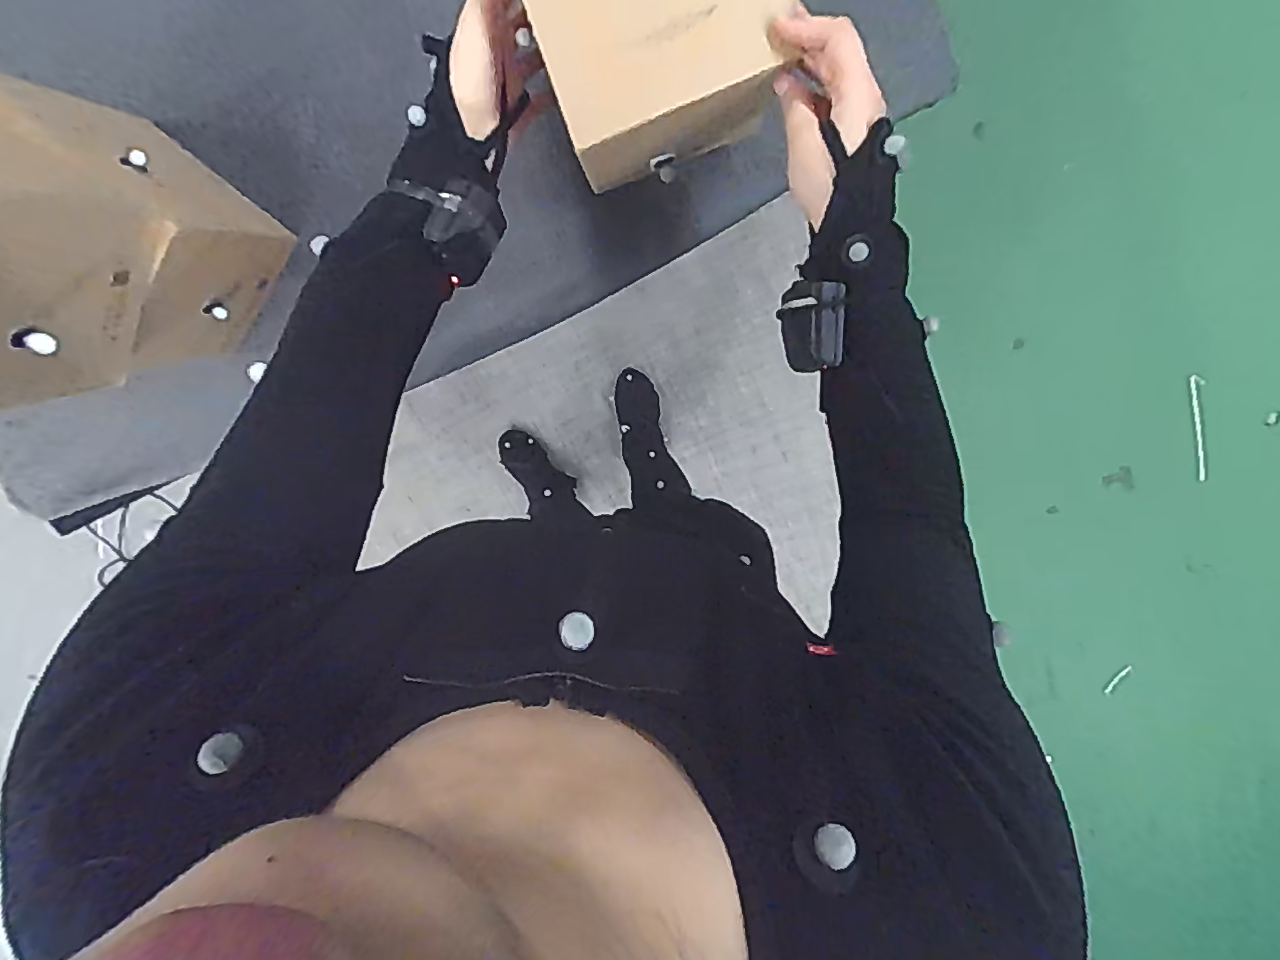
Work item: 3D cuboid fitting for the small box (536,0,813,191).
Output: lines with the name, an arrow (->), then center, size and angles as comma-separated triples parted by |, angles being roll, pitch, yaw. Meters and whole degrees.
small box -> 0.012, -0.357, 0.421 | 0.168, 0.176, 0.179 | -19, 108, 7

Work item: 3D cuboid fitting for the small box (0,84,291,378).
small box -> -0.488, -0.228, 0.519 | 0.179, 0.176, 0.168 | 39, 106, -13
